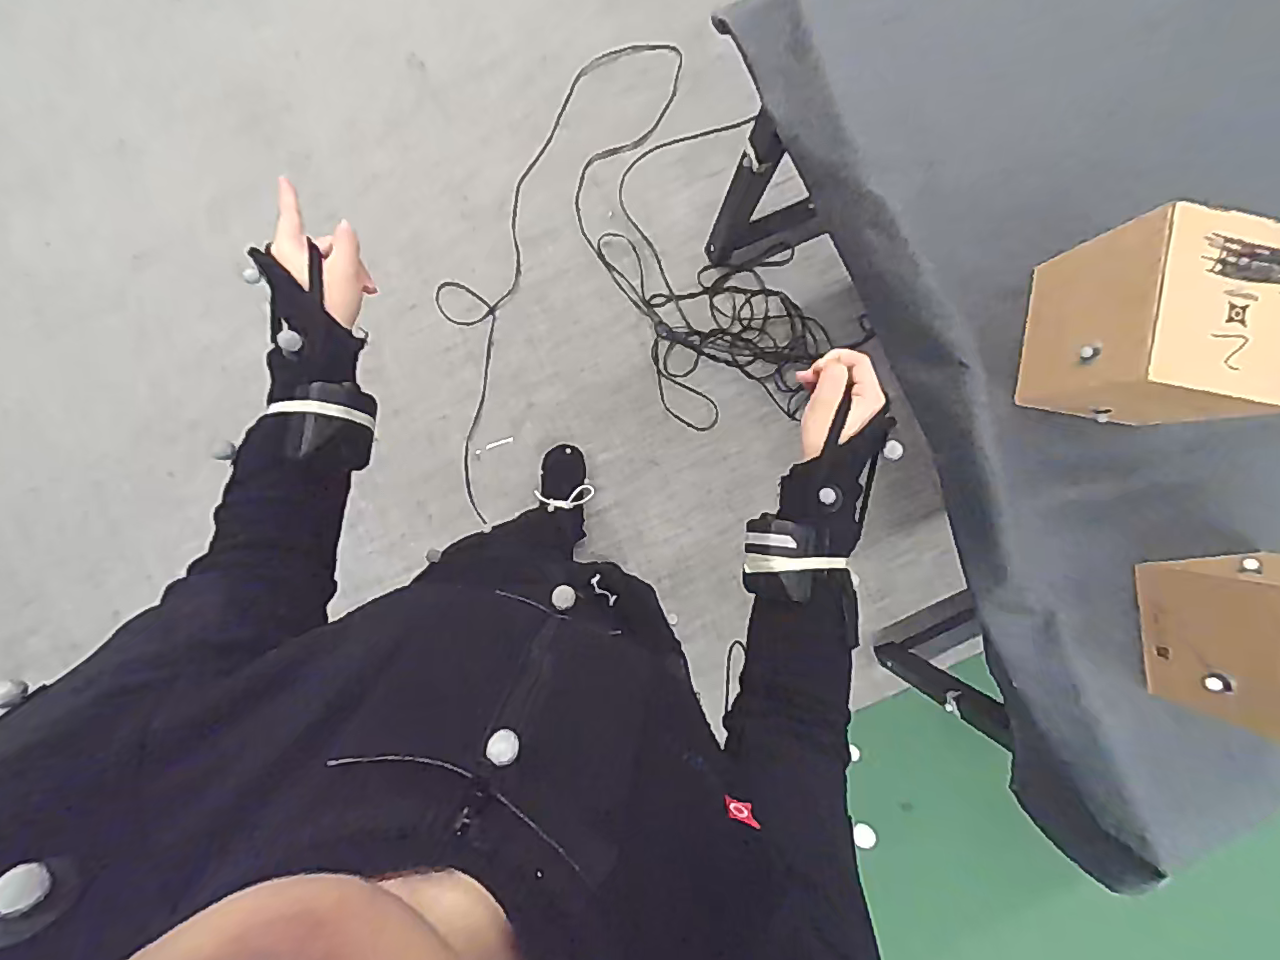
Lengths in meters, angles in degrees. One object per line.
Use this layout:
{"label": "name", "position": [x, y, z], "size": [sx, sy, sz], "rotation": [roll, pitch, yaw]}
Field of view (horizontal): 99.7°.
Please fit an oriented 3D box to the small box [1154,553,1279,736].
{"label": "small box", "position": [0.718, 0.177, 0.592], "size": [0.179, 0.176, 0.168], "rotation": [-5, 91, -4]}
